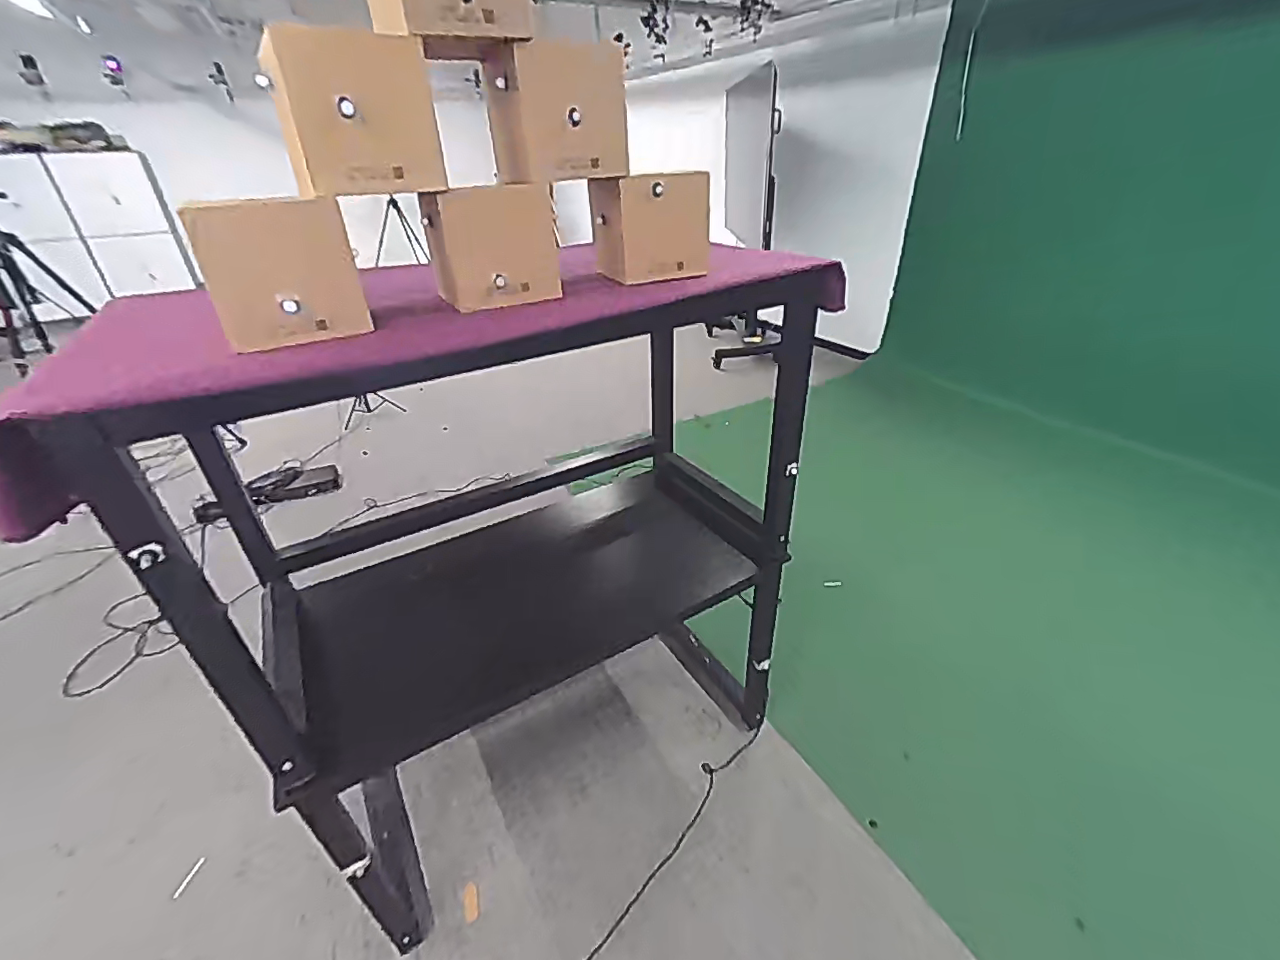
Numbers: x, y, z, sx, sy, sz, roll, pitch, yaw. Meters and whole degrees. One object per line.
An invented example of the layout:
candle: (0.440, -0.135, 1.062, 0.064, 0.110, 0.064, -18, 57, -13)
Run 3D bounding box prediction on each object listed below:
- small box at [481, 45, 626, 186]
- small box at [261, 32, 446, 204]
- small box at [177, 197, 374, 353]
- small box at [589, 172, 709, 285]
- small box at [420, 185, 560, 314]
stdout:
small box: (-0.132, -0.558, 0.845, 0.168, 0.176, 0.179, -18, 33, -23)
small box: (-0.373, -0.464, 0.714, 0.168, 0.176, 0.179, -20, 34, -28)
small box: (-0.479, -0.281, 0.729, 0.168, 0.176, 0.179, -20, 35, -26)
small box: (0.014, -0.459, 0.987, 0.168, 0.176, 0.179, -15, 32, -17)
small box: (-0.241, -0.373, 0.868, 0.168, 0.176, 0.179, -18, 35, -22)
